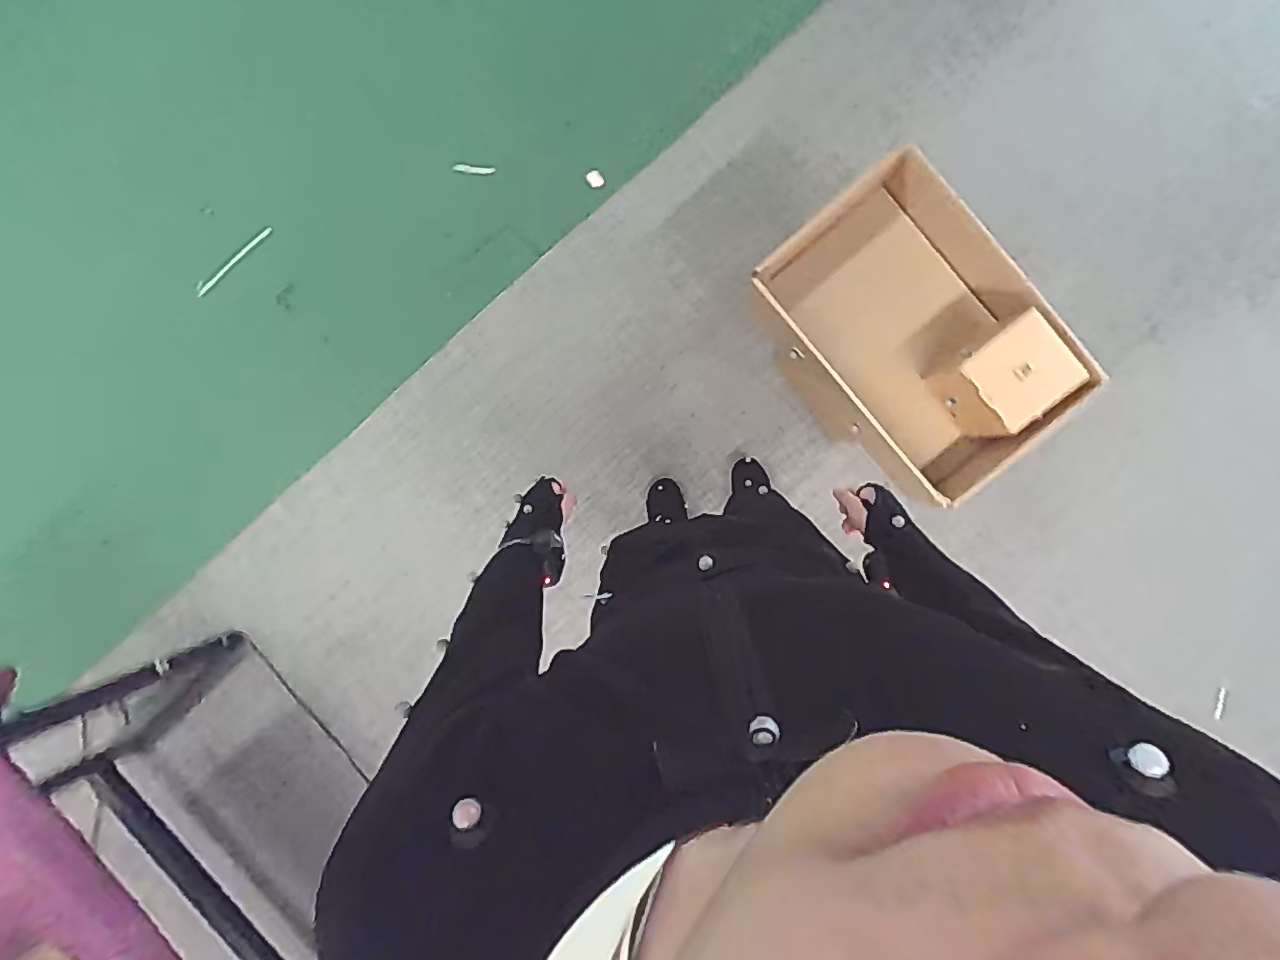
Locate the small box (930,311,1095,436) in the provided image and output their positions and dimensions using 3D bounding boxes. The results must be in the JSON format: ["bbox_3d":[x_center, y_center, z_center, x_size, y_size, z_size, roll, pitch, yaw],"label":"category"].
[{"bbox_3d":[0.734,-0.205,1.088,0.179,0.176,0.168,-39,90,5],"label":"small box"}]
